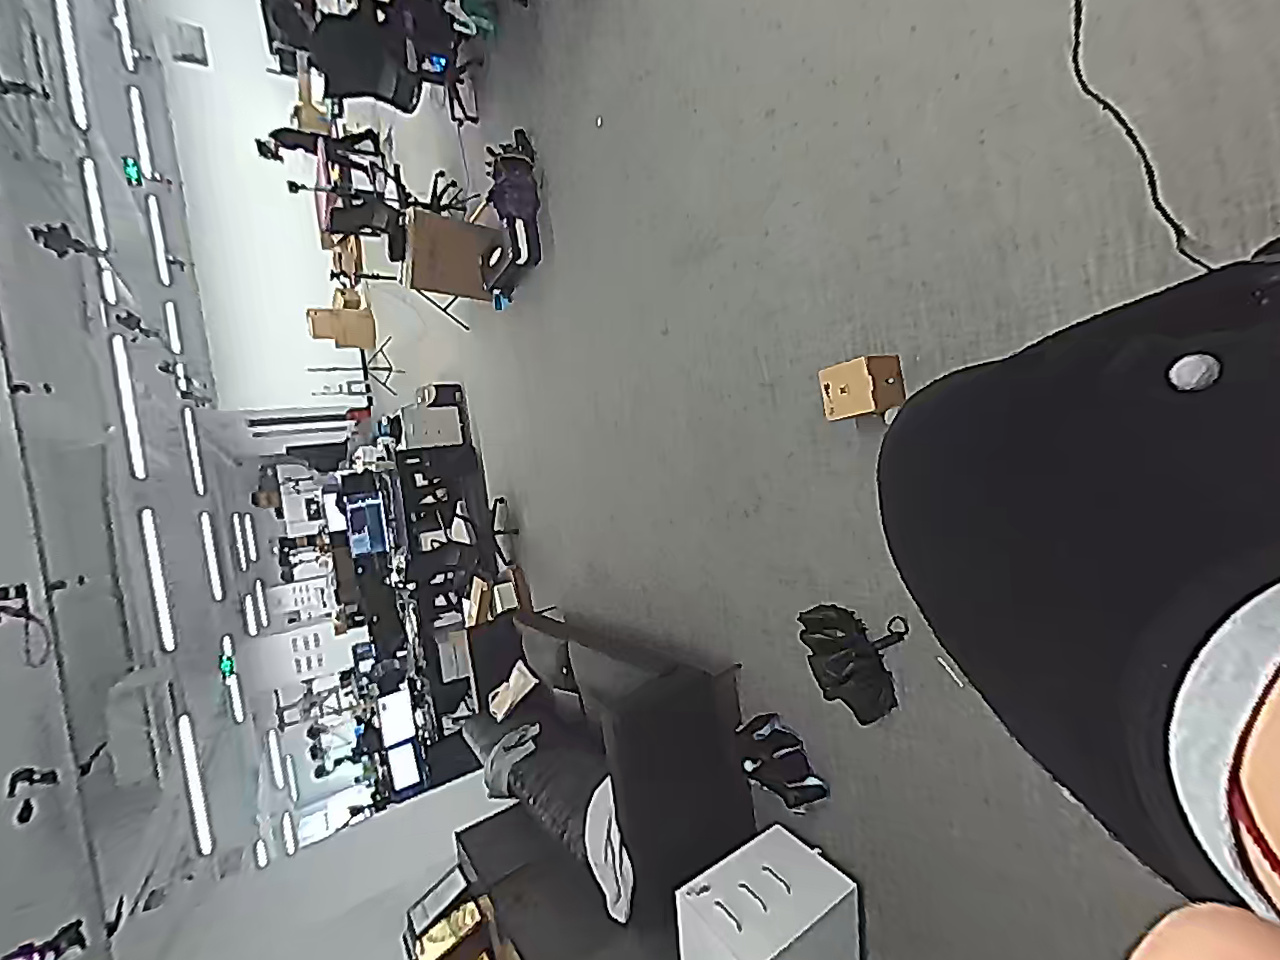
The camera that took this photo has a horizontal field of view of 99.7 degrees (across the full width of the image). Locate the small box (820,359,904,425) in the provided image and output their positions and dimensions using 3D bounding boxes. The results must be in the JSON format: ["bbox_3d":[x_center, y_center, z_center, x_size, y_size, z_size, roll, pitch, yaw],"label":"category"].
[{"bbox_3d":[0.702,-0.278,1.697,0.179,0.176,0.168,-11,91,57],"label":"small box"}]
